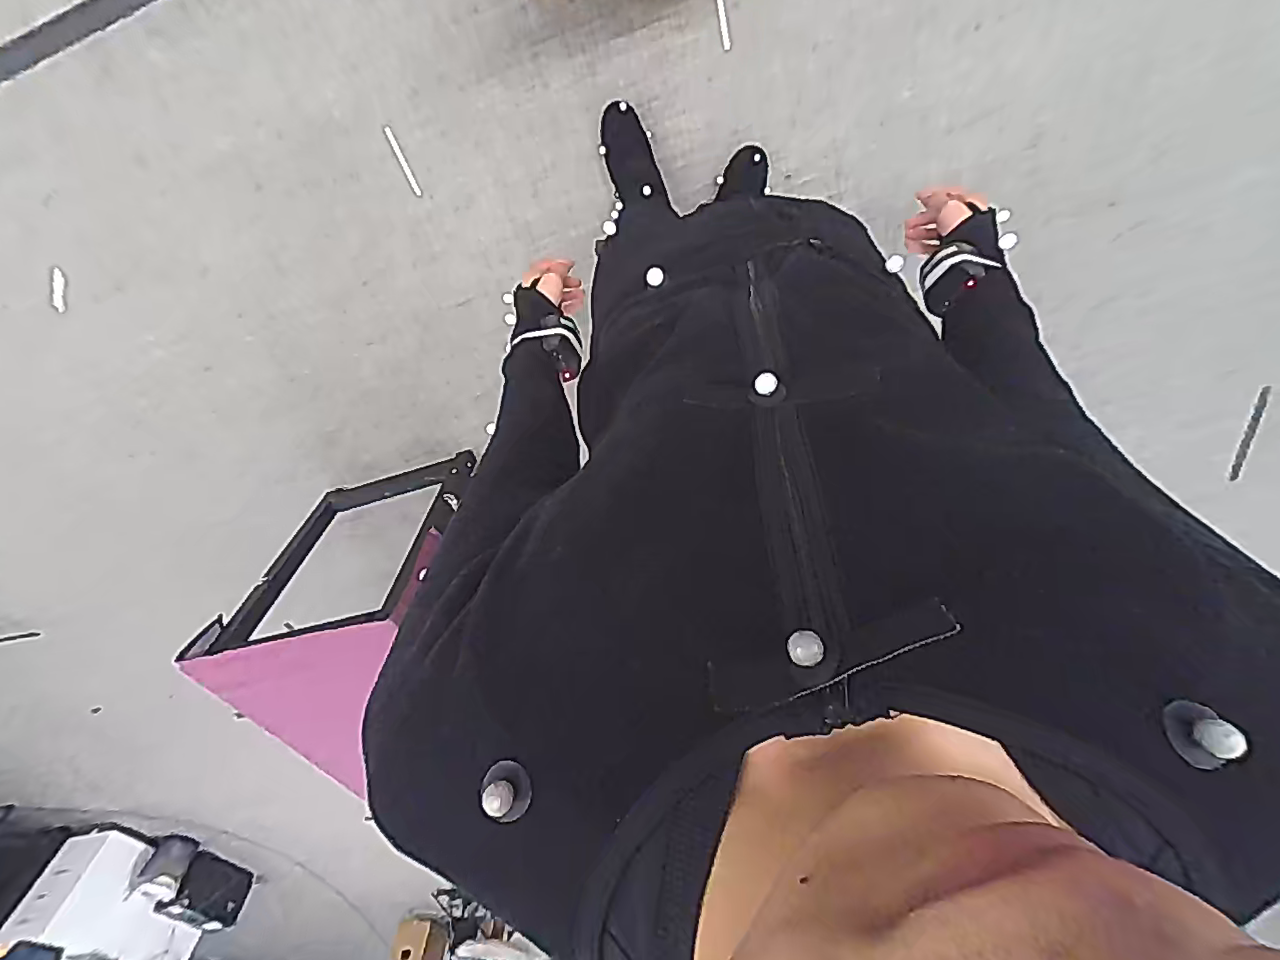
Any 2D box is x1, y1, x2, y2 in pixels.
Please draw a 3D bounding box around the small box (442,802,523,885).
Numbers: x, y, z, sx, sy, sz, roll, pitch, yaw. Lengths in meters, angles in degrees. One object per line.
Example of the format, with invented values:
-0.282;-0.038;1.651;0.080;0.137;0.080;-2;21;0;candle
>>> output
-0.490;1.154;1.722;0.179;0.176;0.168;-24;122;18;small box
